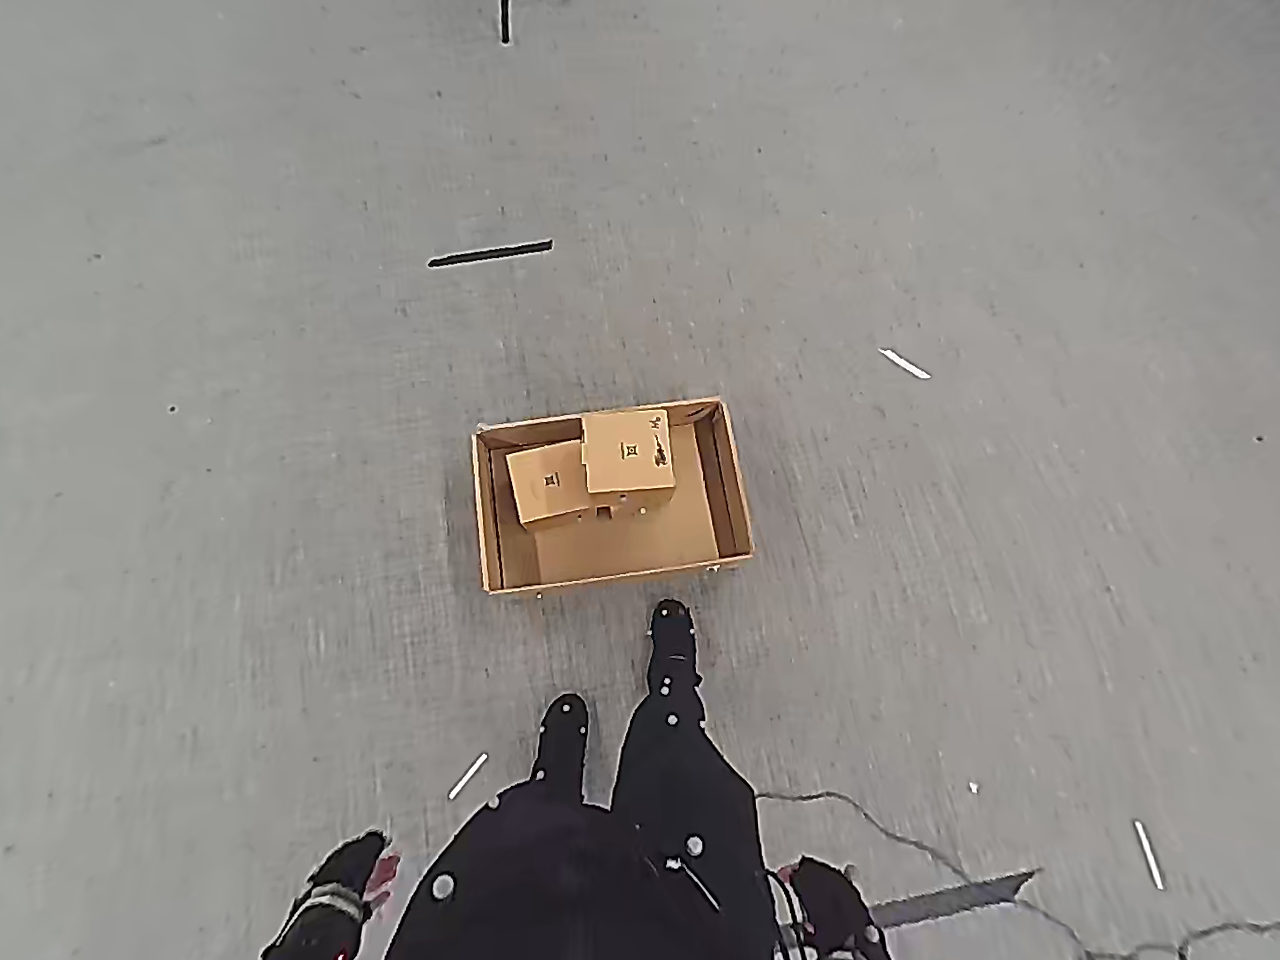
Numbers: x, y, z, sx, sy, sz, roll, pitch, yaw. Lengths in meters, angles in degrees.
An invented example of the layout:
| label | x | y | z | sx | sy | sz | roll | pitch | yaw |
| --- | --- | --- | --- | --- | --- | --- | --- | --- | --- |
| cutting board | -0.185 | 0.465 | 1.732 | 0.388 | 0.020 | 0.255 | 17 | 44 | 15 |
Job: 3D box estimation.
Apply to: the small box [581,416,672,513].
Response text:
| label | x | y | z | sx | sy | sz | roll | pitch | yaw |
| --- | --- | --- | --- | --- | --- | --- | --- | --- | --- |
| small box | -0.027 | -0.027 | 1.165 | 0.179 | 0.176 | 0.168 | -5 | 77 | -2 |
